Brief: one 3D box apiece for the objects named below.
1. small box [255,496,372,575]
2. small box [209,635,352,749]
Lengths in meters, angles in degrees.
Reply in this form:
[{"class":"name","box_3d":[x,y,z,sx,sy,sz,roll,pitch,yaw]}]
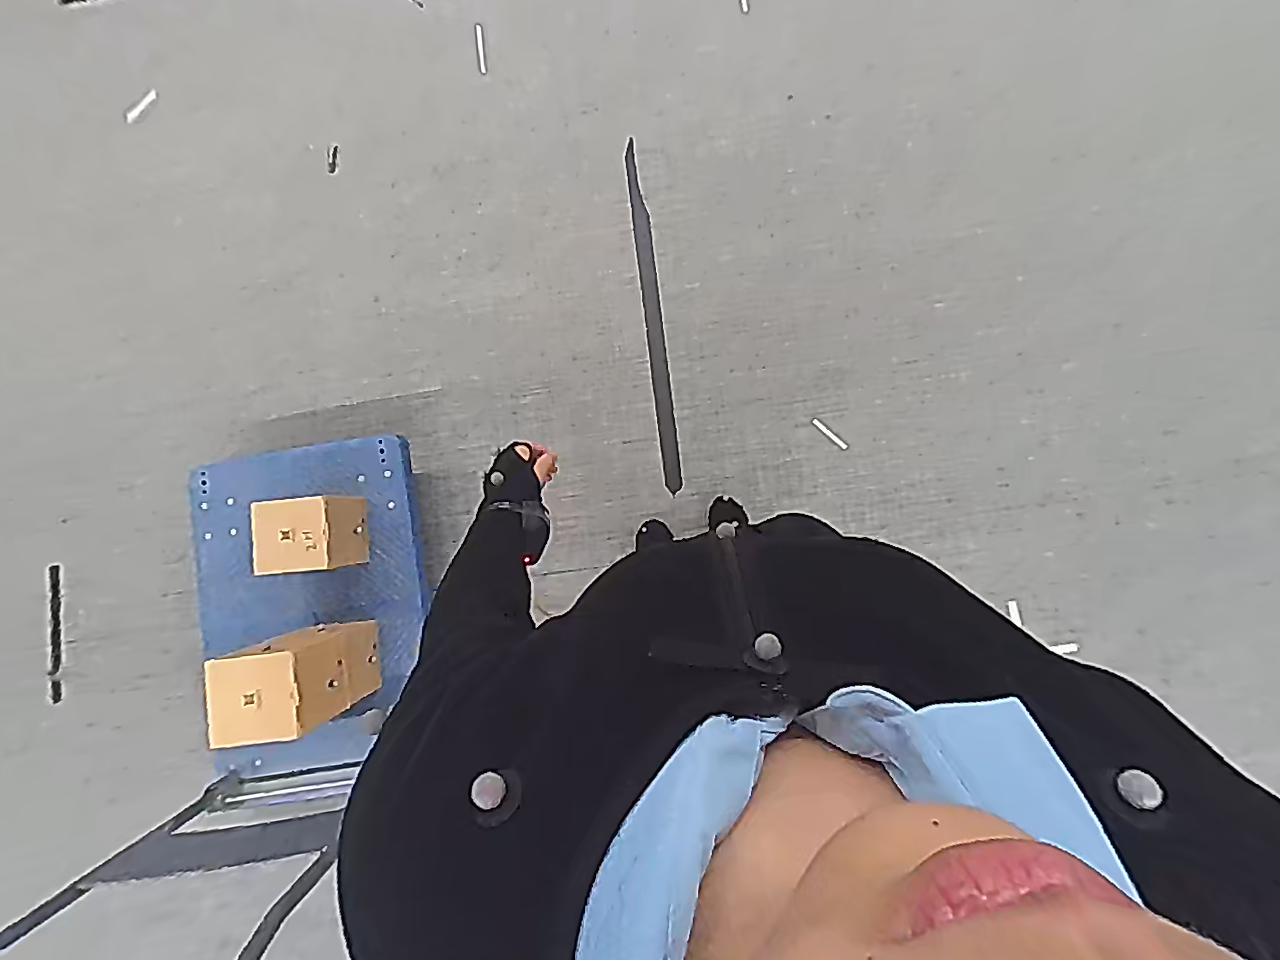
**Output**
[{"class":"small box","box_3d":[-0.766,0.130,1.279,0.179,0.176,0.168,-5,86,3]},{"class":"small box","box_3d":[-0.718,0.420,1.093,0.179,0.176,0.168,-8,85,1]}]
